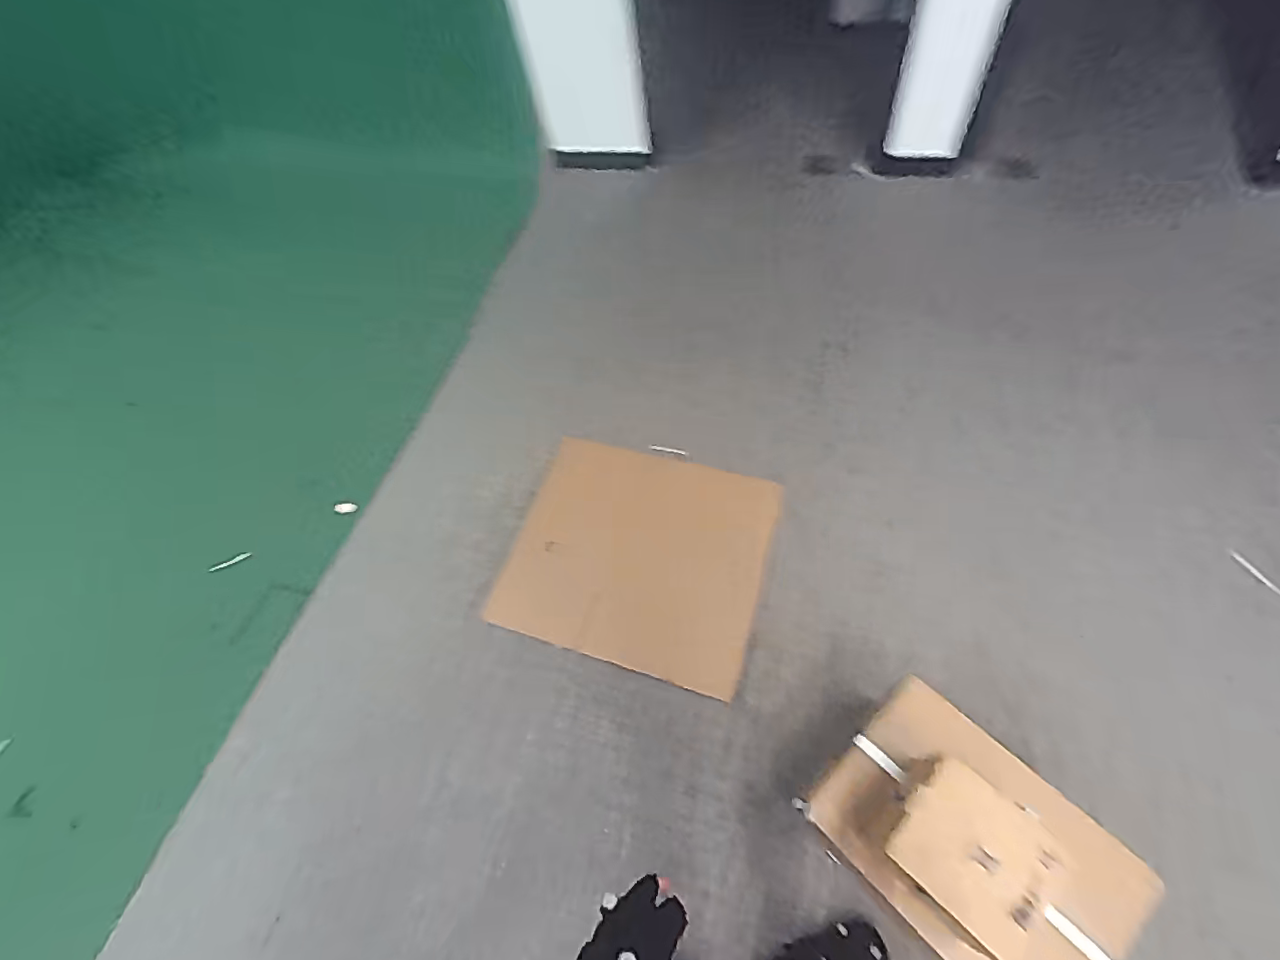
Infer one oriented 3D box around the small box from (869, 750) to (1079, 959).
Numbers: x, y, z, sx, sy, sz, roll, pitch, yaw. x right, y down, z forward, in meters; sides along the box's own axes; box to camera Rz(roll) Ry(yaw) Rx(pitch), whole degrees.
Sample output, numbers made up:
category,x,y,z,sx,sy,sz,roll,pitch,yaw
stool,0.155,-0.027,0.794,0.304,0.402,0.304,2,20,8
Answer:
category,x,y,z,sx,sy,sz,roll,pitch,yaw
small box,0.456,0.523,0.770,0.179,0.176,0.168,35,70,26
